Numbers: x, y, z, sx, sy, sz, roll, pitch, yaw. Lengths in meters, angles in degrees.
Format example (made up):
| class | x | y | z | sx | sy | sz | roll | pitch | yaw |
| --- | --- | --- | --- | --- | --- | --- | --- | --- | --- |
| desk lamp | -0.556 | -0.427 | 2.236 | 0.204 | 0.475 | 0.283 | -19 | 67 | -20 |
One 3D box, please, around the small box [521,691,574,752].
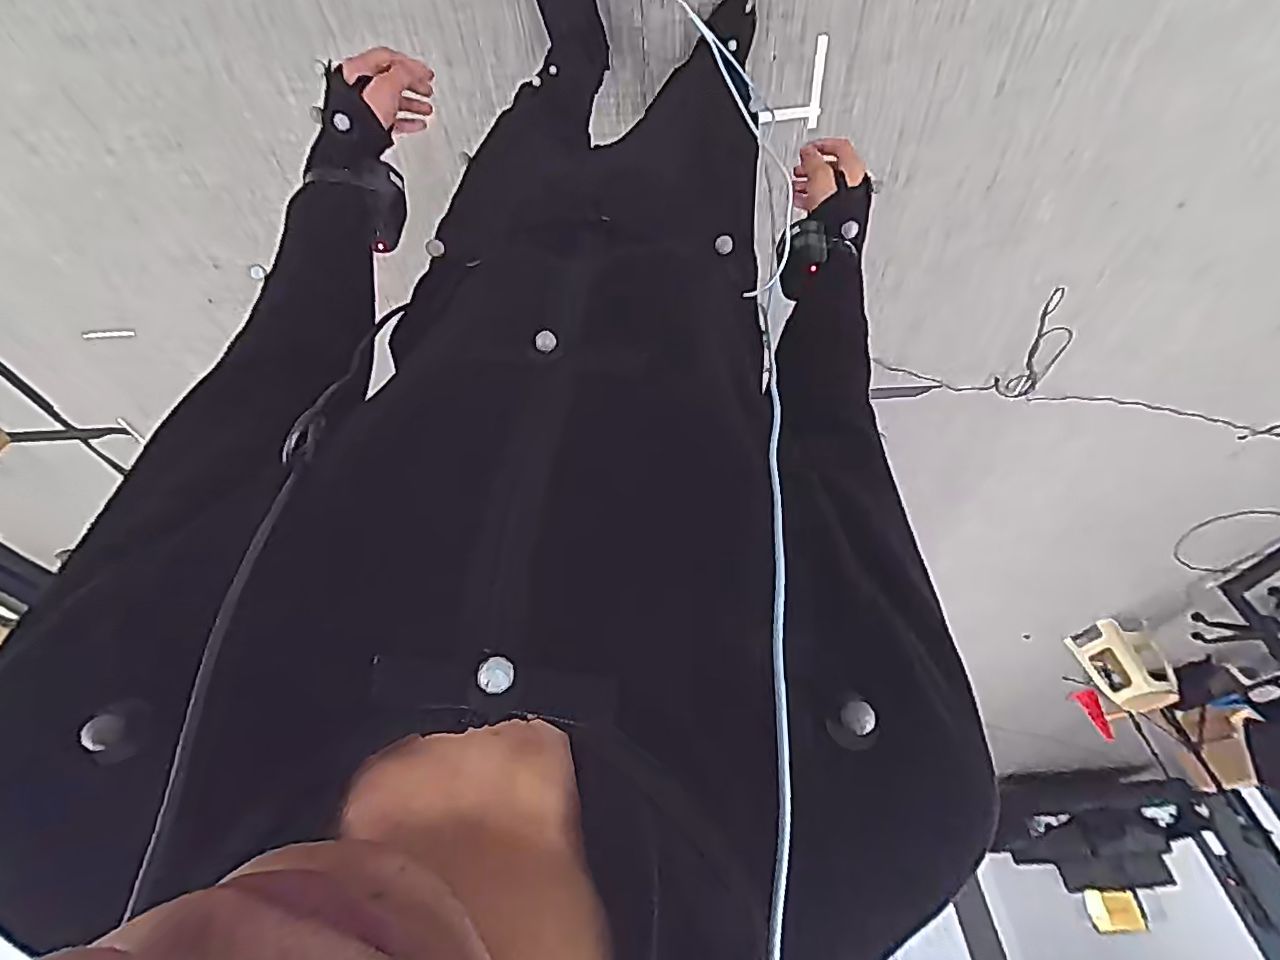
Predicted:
| class | x | y | z | sx | sy | sz | roll | pitch | yaw |
| --- | --- | --- | --- | --- | --- | --- | --- | --- | --- |
| small box | -0.337 | 0.885 | 1.992 | 0.168 | 0.176 | 0.179 | -3 | 140 | 0 |
